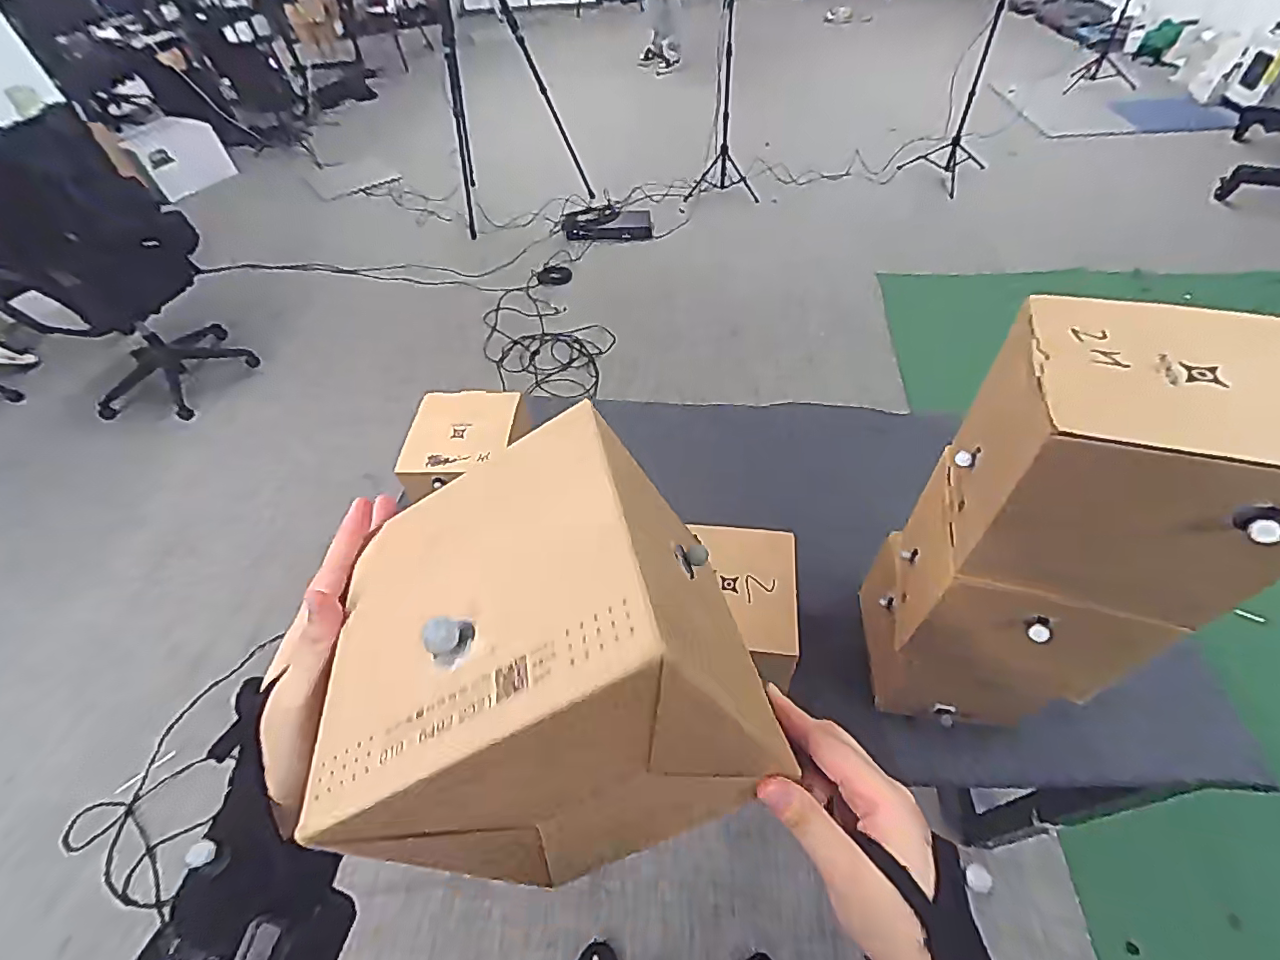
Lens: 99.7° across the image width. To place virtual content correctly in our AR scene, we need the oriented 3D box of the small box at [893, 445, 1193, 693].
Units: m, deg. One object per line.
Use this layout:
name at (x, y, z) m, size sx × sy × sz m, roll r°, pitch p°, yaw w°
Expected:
small box at (0.373, 0.092, 0.542) m, size 0.179 × 0.176 × 0.168 m, roll 11°, pitch 51°, yaw 16°

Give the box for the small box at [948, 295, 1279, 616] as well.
small box at (0.363, -0.017, 0.418) m, size 0.179 × 0.176 × 0.168 m, roll 12°, pitch 51°, yaw 17°

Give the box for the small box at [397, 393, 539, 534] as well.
small box at (-0.275, -0.028, 0.914) m, size 0.168 × 0.176 × 0.179 m, roll 0°, pitch 51°, yaw 5°

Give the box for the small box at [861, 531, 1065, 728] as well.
small box at (0.386, 0.186, 0.674) m, size 0.168 × 0.176 × 0.179 m, roll 3°, pitch 50°, yaw 9°
